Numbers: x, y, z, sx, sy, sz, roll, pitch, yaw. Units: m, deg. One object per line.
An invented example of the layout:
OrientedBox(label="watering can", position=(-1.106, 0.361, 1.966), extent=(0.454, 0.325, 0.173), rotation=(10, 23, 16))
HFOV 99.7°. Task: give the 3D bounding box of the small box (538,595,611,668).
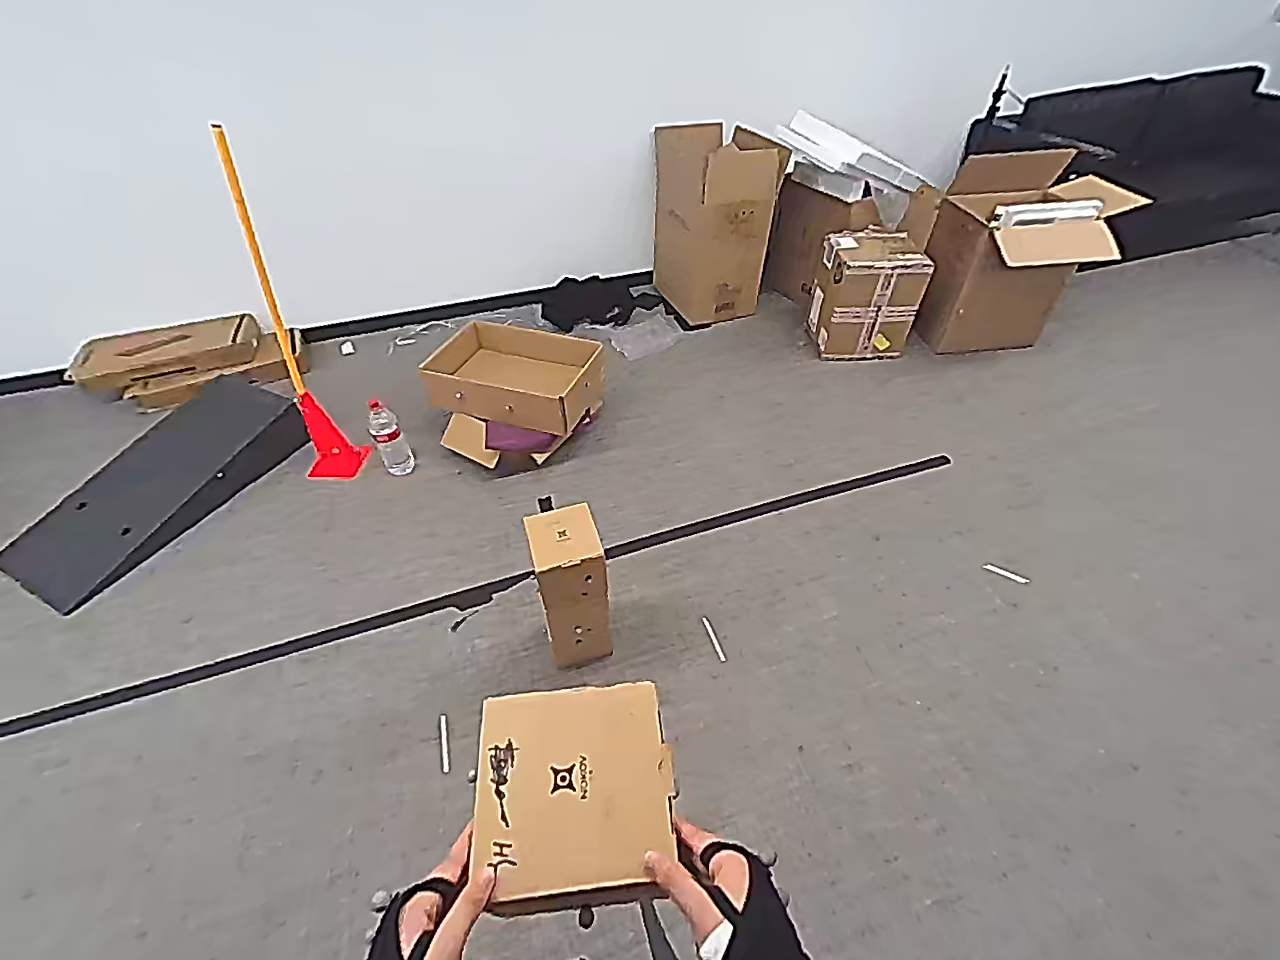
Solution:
OrientedBox(label="small box", position=(-0.191, 0.426, 1.592), extent=(0.179, 0.176, 0.168), rotation=(-13, 47, -13))

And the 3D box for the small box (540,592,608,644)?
OrientedBox(label="small box", position=(-0.188, 0.313, 1.472), extent=(0.168, 0.176, 0.179), rotation=(-13, 47, -12))

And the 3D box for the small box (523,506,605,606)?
OrientedBox(label="small box", position=(-0.188, 0.197, 1.359), extent=(0.168, 0.176, 0.179), rotation=(-13, 46, -14))

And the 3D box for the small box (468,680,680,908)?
OrientedBox(label="small box", position=(-0.063, 0.322, 0.554), extent=(0.179, 0.176, 0.168), rotation=(-3, 48, -5))
